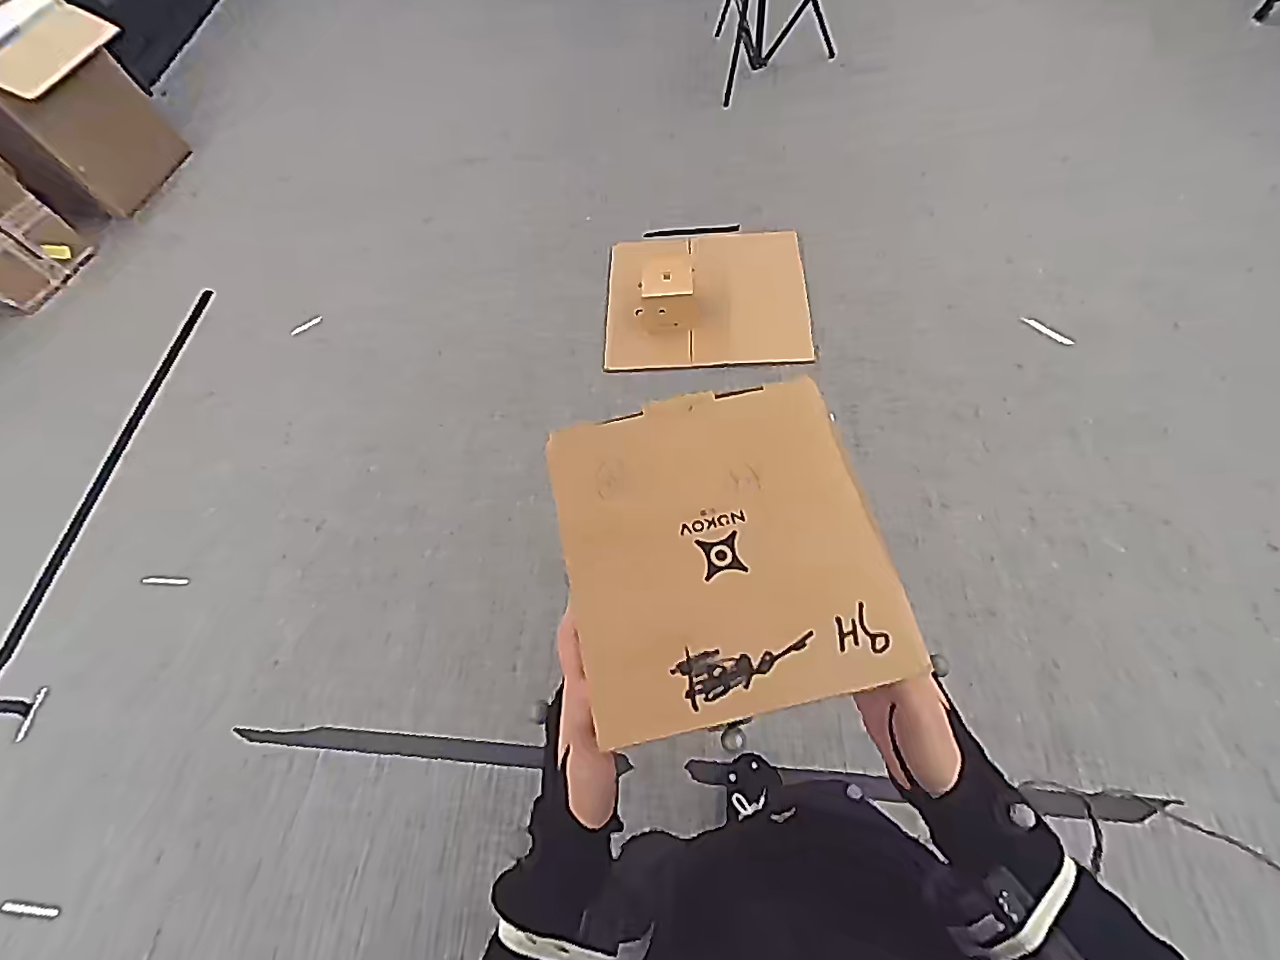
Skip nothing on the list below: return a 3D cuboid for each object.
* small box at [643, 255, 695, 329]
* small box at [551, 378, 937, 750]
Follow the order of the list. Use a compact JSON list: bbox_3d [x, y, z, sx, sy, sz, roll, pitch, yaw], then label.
[{"bbox_3d":[0.100,-0.626,1.824,0.168,0.176,0.179,-3,63,5],"label":"small box"},{"bbox_3d":[0.050,0.065,0.358,0.168,0.176,0.179,-14,66,0],"label":"small box"}]
